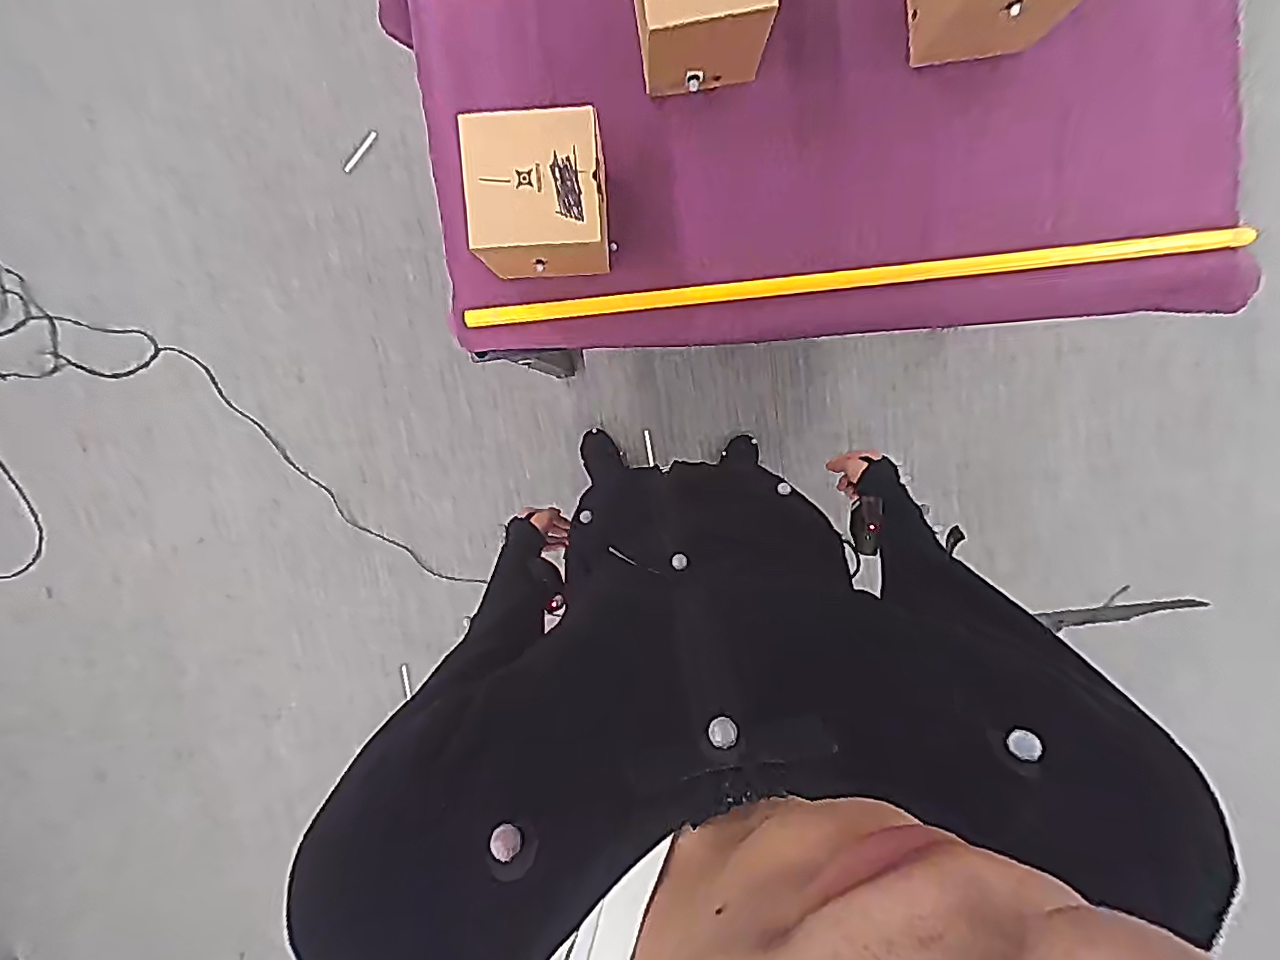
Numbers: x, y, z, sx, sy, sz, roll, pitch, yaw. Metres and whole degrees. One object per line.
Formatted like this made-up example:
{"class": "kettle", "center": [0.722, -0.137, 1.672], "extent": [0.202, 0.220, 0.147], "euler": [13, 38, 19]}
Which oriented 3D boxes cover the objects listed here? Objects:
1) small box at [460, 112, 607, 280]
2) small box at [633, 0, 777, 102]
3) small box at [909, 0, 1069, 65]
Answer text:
{"class": "small box", "center": [-0.138, -0.390, 0.769], "extent": [0.179, 0.176, 0.168], "euler": [-3, 97, 1]}
{"class": "small box", "center": [0.077, -0.662, 0.734], "extent": [0.168, 0.176, 0.179], "euler": [-9, 98, 3]}
{"class": "small box", "center": [0.477, -0.696, 0.721], "extent": [0.179, 0.176, 0.168], "euler": [-7, 98, 2]}
